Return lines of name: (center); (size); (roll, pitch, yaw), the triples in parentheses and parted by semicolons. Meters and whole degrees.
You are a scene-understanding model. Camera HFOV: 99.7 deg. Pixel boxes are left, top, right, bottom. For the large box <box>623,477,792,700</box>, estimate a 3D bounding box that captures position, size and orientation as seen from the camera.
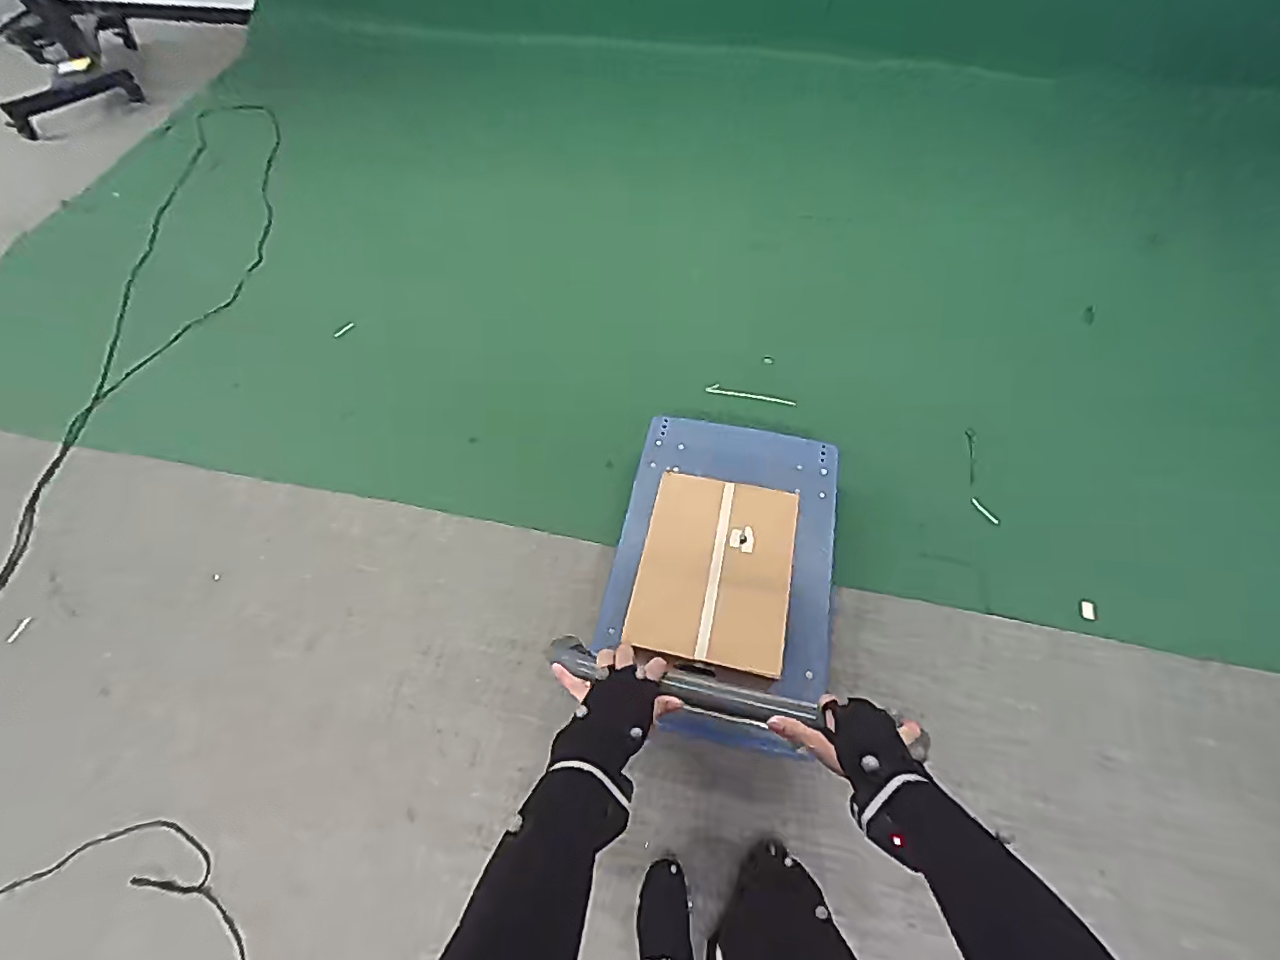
large box: (0.160, 0.259, 1.267); (0.320, 0.320, 0.408); (10, 60, 8)
